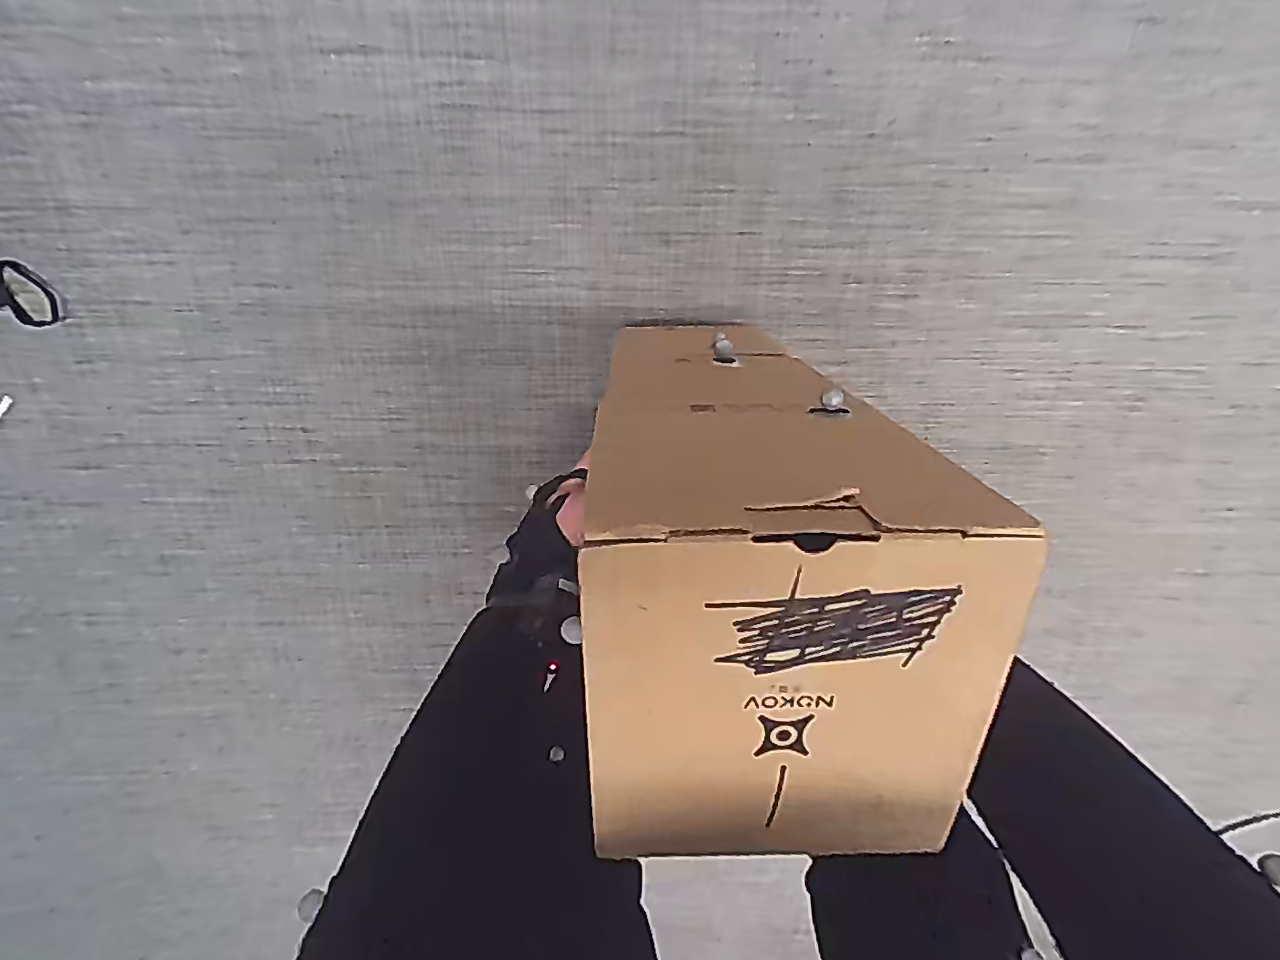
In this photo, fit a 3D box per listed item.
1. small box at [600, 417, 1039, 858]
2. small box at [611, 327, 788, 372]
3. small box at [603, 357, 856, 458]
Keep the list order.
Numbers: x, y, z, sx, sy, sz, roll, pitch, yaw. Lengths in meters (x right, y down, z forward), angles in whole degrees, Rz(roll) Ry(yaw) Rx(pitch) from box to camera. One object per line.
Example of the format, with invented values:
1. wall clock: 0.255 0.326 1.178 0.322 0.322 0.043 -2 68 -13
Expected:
1. small box: 0.062 0.068 0.301 0.168 0.176 0.179 -1 115 -1
2. small box: 0.054 -0.066 0.601 0.168 0.176 0.179 0 115 -1
3. small box: 0.056 0.002 0.452 0.168 0.176 0.179 -1 113 -2
